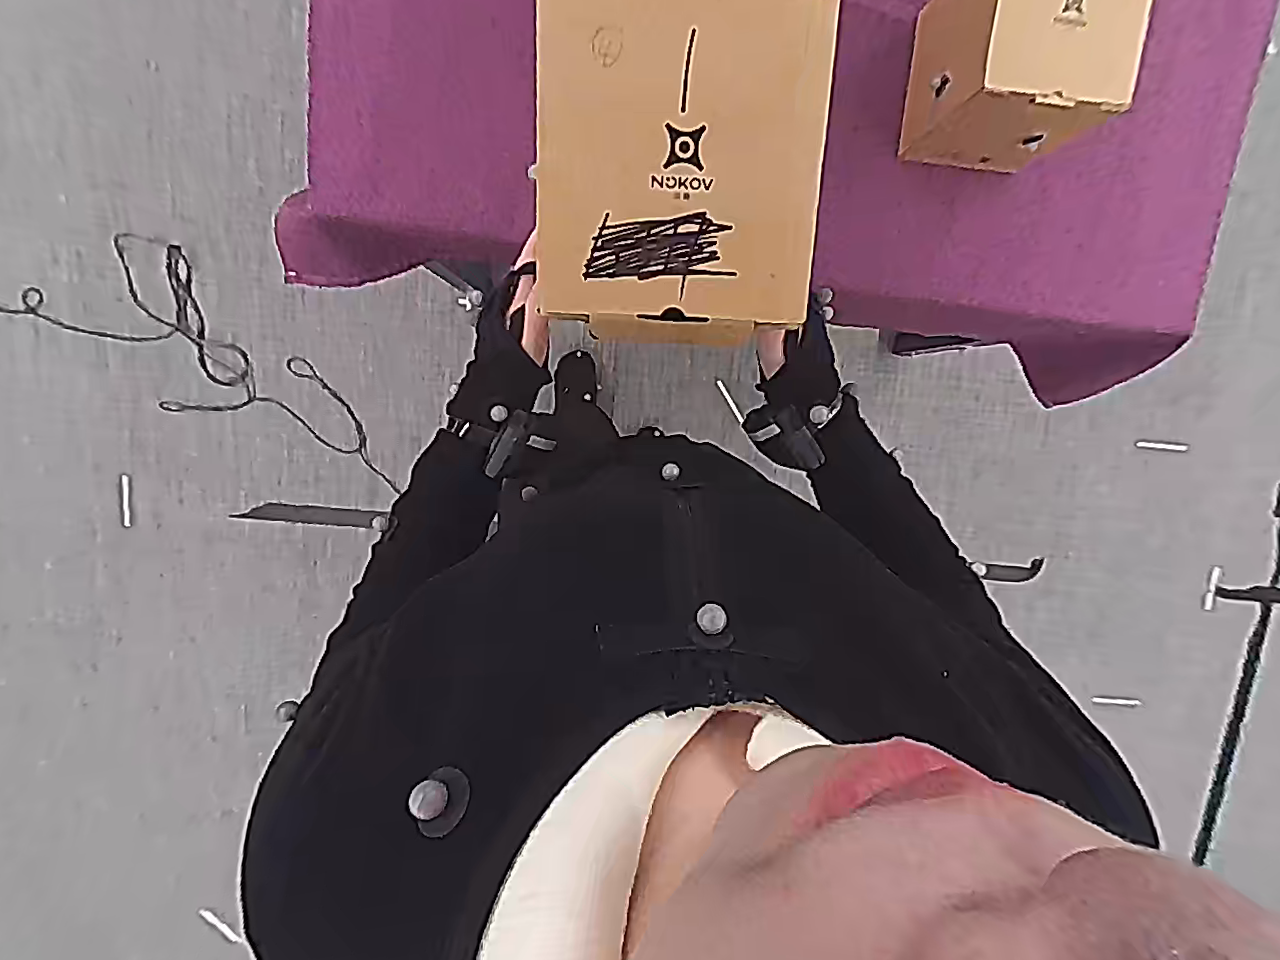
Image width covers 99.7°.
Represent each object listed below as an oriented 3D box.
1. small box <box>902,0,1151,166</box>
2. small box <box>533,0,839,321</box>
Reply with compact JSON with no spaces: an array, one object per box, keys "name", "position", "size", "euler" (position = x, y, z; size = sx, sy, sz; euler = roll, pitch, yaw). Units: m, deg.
[{"name":"small box","position":[0.429,-0.491,0.623],"size":[0.168,0.176,0.179],"euler":[5,99,-4]},{"name":"small box","position":[0.019,-0.209,0.386],"size":[0.168,0.176,0.179],"euler":[2,105,-3]}]
